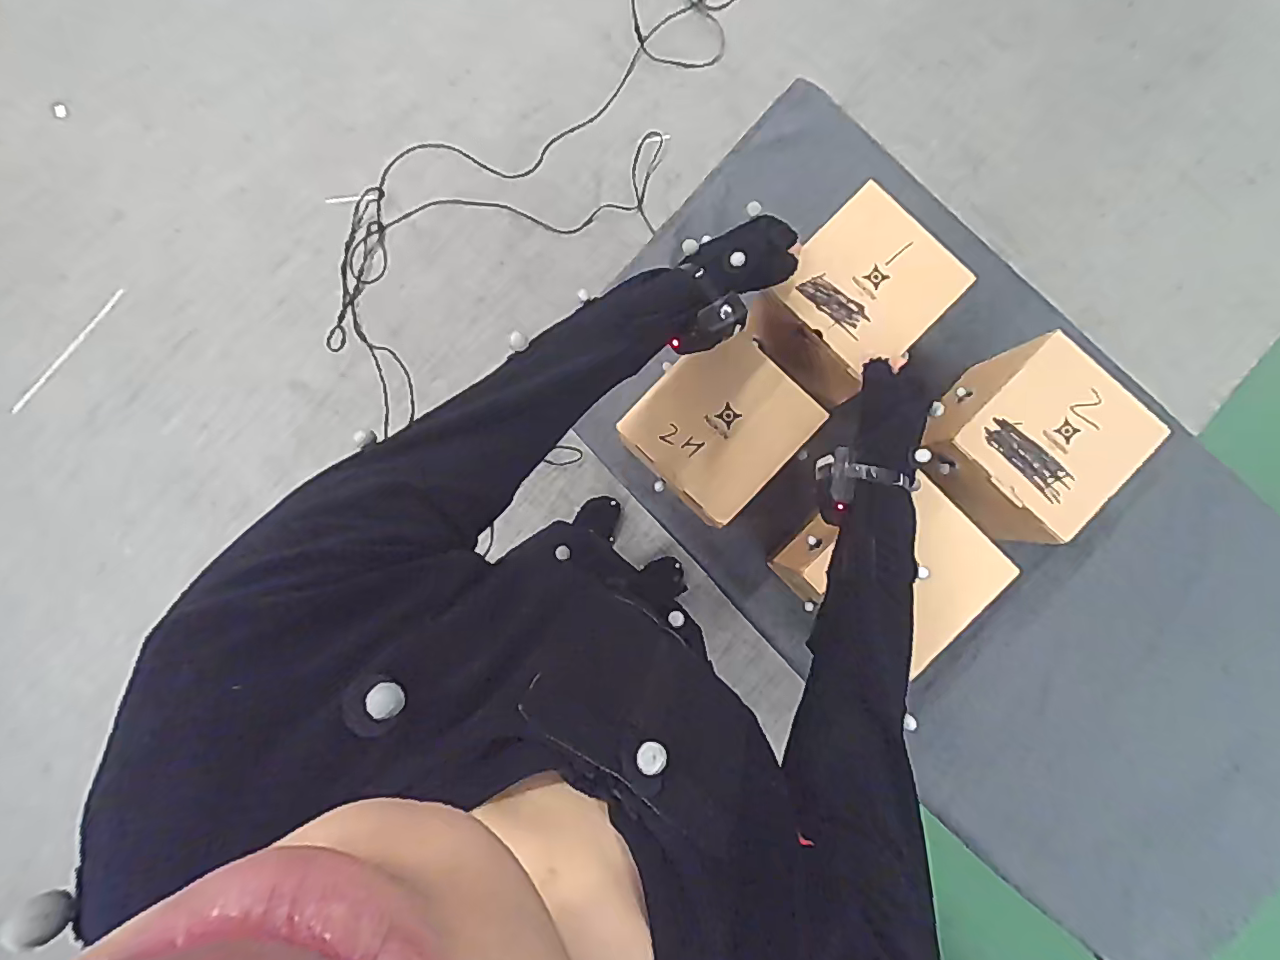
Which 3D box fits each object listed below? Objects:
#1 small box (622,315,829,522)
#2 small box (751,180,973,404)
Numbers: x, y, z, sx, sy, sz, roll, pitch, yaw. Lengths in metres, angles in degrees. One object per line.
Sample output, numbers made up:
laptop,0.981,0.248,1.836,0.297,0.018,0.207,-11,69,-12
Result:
small box,0.095,-0.067,0.678,0.168,0.176,0.179,44,89,3
small box,0.259,-0.220,0.686,0.179,0.176,0.168,-45,87,-2
